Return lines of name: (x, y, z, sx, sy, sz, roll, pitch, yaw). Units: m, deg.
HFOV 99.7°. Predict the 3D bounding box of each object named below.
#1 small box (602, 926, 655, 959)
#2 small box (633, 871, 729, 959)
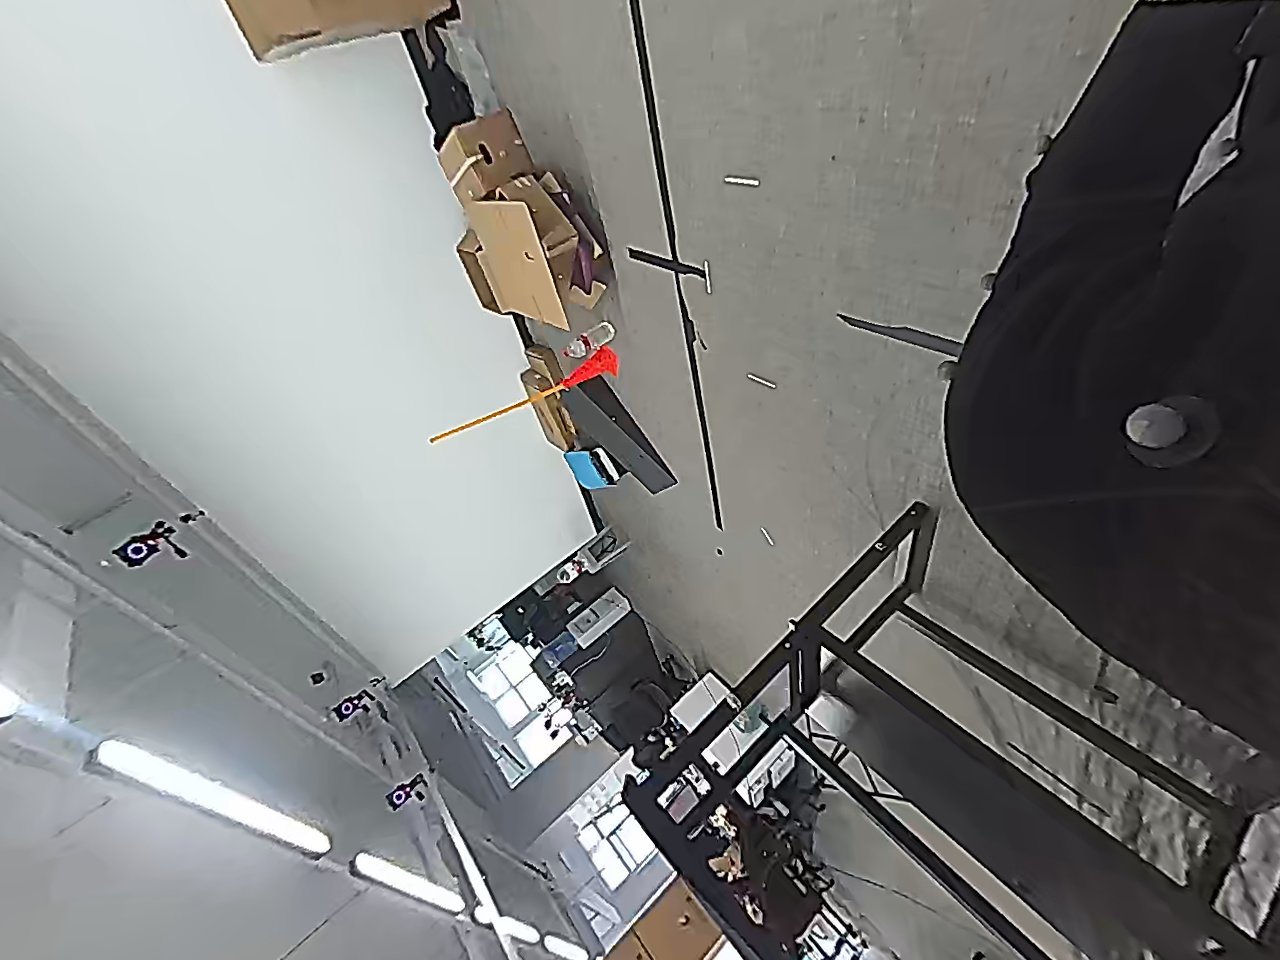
small box: (-0.013, 1.242, 1.325, 0.168, 0.176, 0.179, 36, 154, 38)
small box: (0.111, 1.148, 1.380, 0.168, 0.176, 0.179, 35, 153, 38)
